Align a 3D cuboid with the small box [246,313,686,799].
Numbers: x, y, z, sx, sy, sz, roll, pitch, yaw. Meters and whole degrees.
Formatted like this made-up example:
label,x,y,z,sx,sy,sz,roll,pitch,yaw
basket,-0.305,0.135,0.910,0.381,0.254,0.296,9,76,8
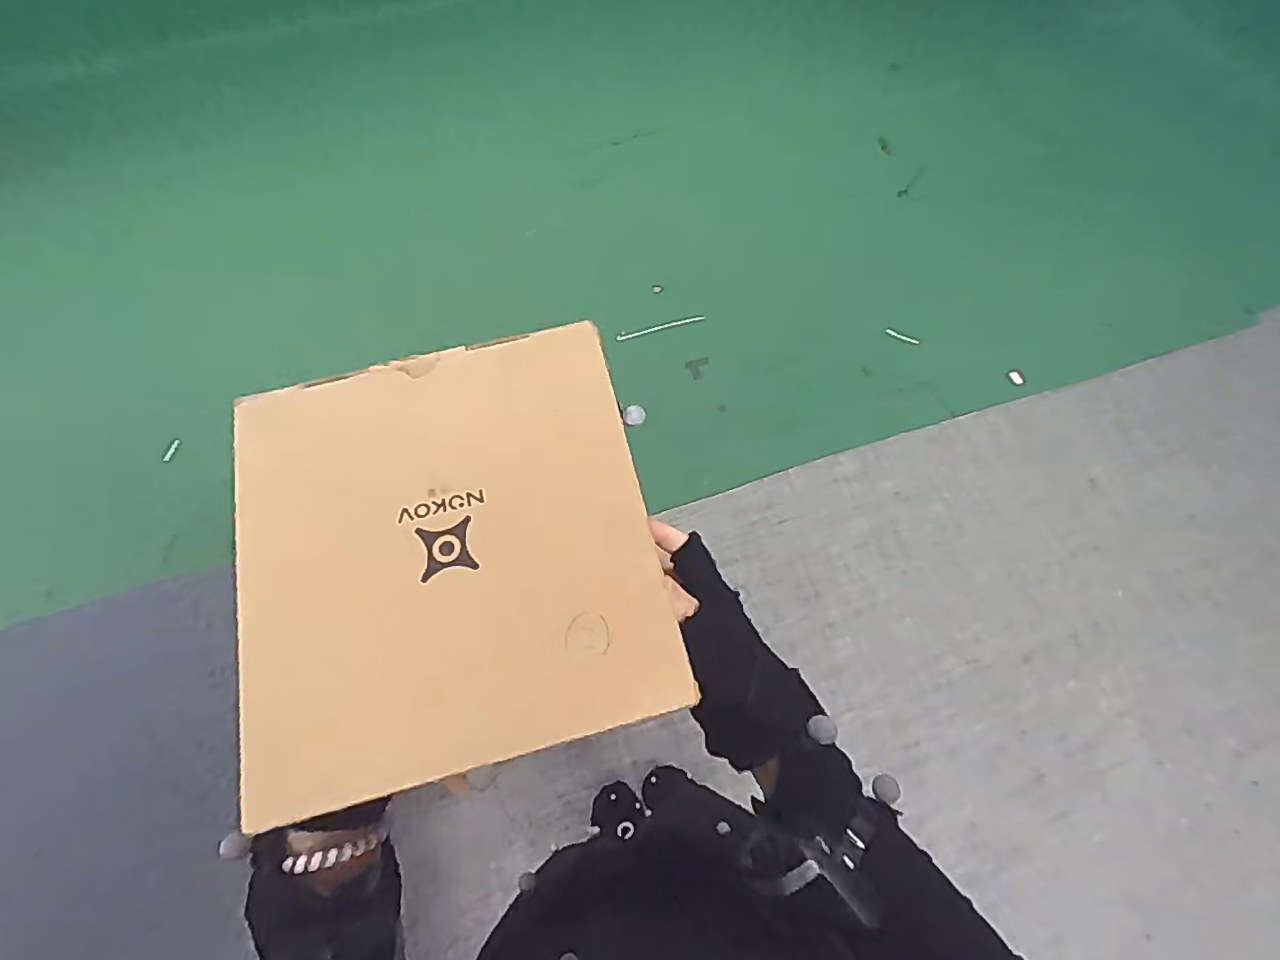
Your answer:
label,x,y,z,sx,sy,sz,roll,pitch,yaw
small box,-0.078,0.044,0.301,0.168,0.176,0.179,-14,70,-5
